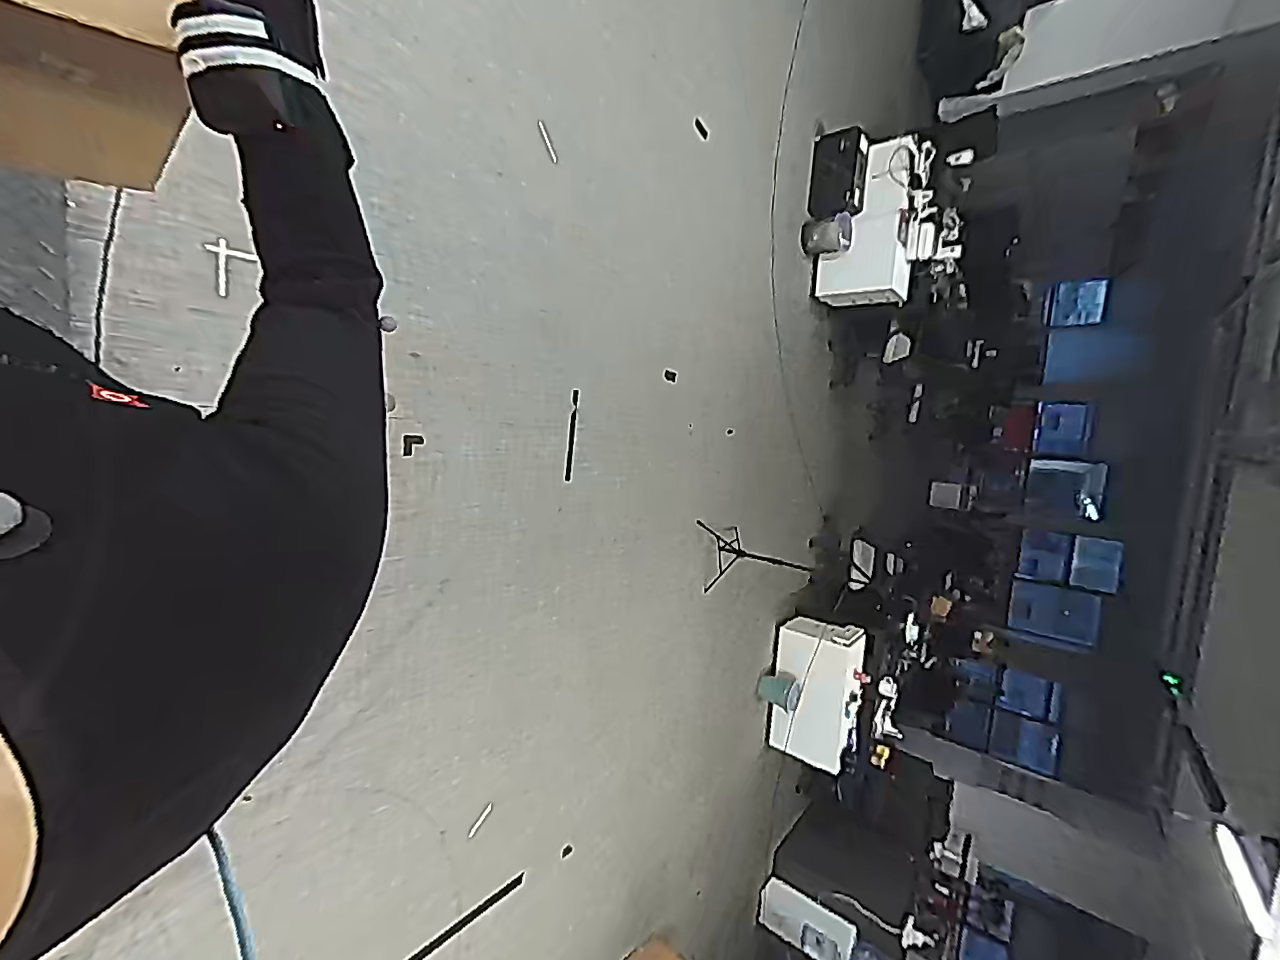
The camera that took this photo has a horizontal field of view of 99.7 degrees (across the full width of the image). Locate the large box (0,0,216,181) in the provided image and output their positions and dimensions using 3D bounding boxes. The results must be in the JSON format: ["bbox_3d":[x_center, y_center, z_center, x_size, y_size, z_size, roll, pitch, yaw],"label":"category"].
[{"bbox_3d":[-0.549,-0.418,0.307,0.408,0.320,0.320,-14,105,-47],"label":"large box"}]
